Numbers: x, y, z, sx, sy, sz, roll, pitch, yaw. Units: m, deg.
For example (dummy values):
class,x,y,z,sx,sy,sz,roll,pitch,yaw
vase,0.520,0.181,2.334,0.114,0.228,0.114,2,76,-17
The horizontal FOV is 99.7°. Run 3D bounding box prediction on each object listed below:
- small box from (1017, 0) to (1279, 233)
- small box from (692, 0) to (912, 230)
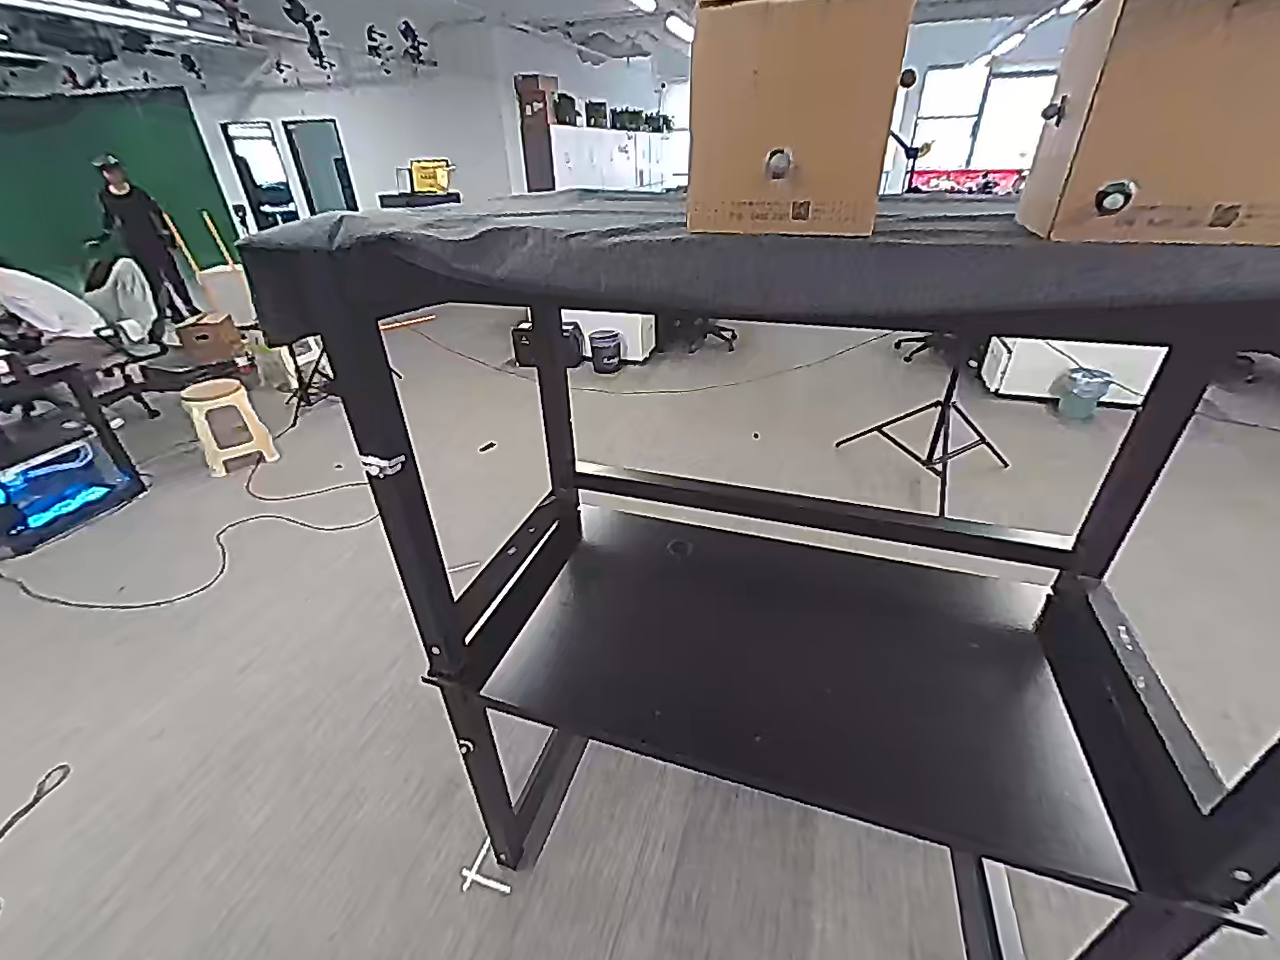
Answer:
class,x,y,z,sx,sy,sz,roll,pitch,yaw
small box,0.433,-0.296,0.433,0.168,0.176,0.179,11,31,20
small box,0.147,-0.338,0.513,0.168,0.176,0.179,9,30,18
